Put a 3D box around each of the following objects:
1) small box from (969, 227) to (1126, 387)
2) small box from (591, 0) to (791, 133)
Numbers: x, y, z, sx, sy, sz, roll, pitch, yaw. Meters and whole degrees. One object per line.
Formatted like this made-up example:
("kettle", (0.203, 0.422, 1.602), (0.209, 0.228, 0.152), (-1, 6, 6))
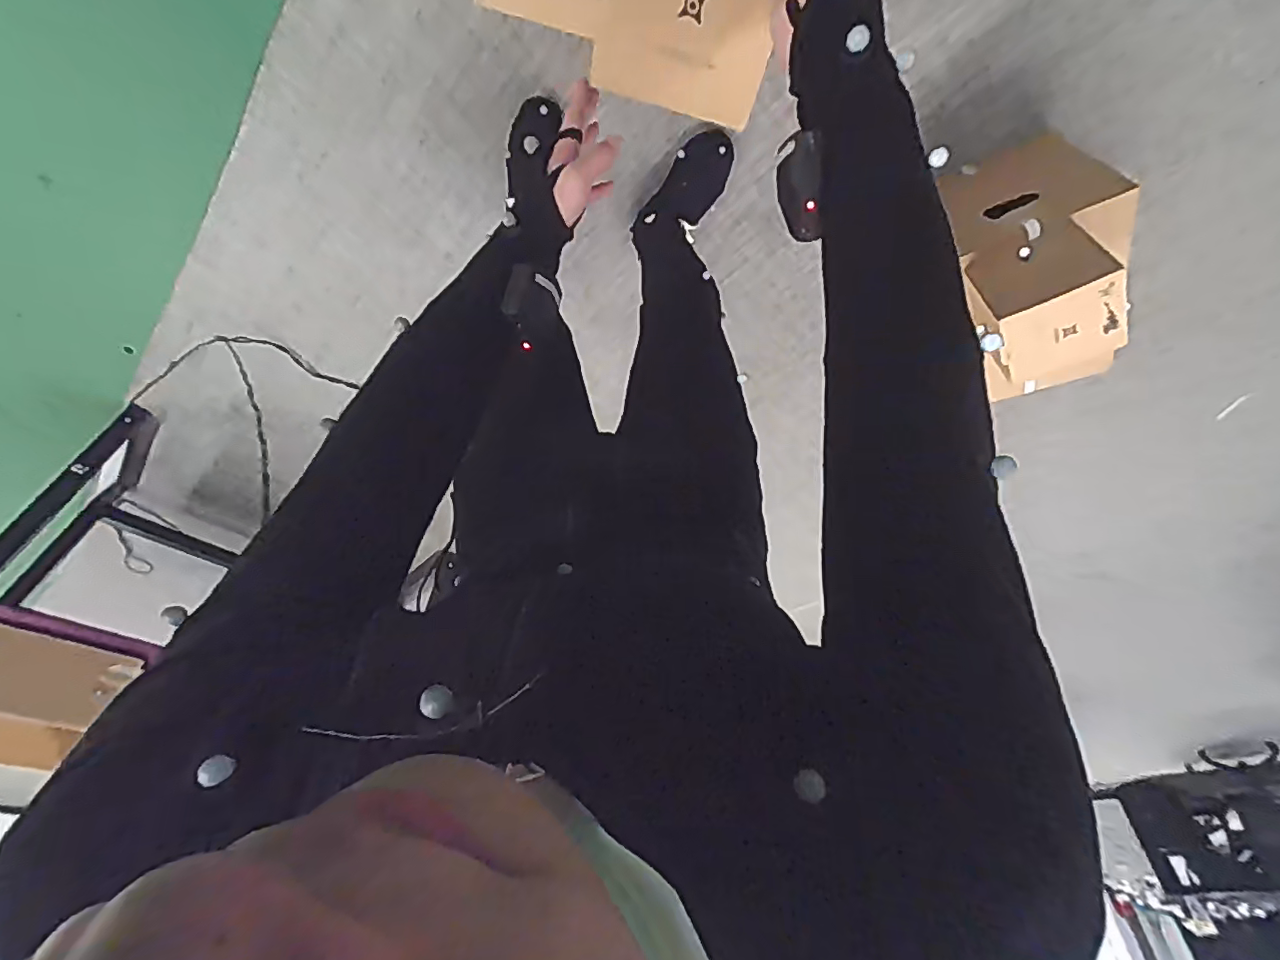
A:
("small box", (0.704, -0.301, 0.949), (0.179, 0.176, 0.168), (-22, 133, 26))
("small box", (0.053, -0.488, 0.535), (0.168, 0.176, 0.179), (12, 138, -9))
